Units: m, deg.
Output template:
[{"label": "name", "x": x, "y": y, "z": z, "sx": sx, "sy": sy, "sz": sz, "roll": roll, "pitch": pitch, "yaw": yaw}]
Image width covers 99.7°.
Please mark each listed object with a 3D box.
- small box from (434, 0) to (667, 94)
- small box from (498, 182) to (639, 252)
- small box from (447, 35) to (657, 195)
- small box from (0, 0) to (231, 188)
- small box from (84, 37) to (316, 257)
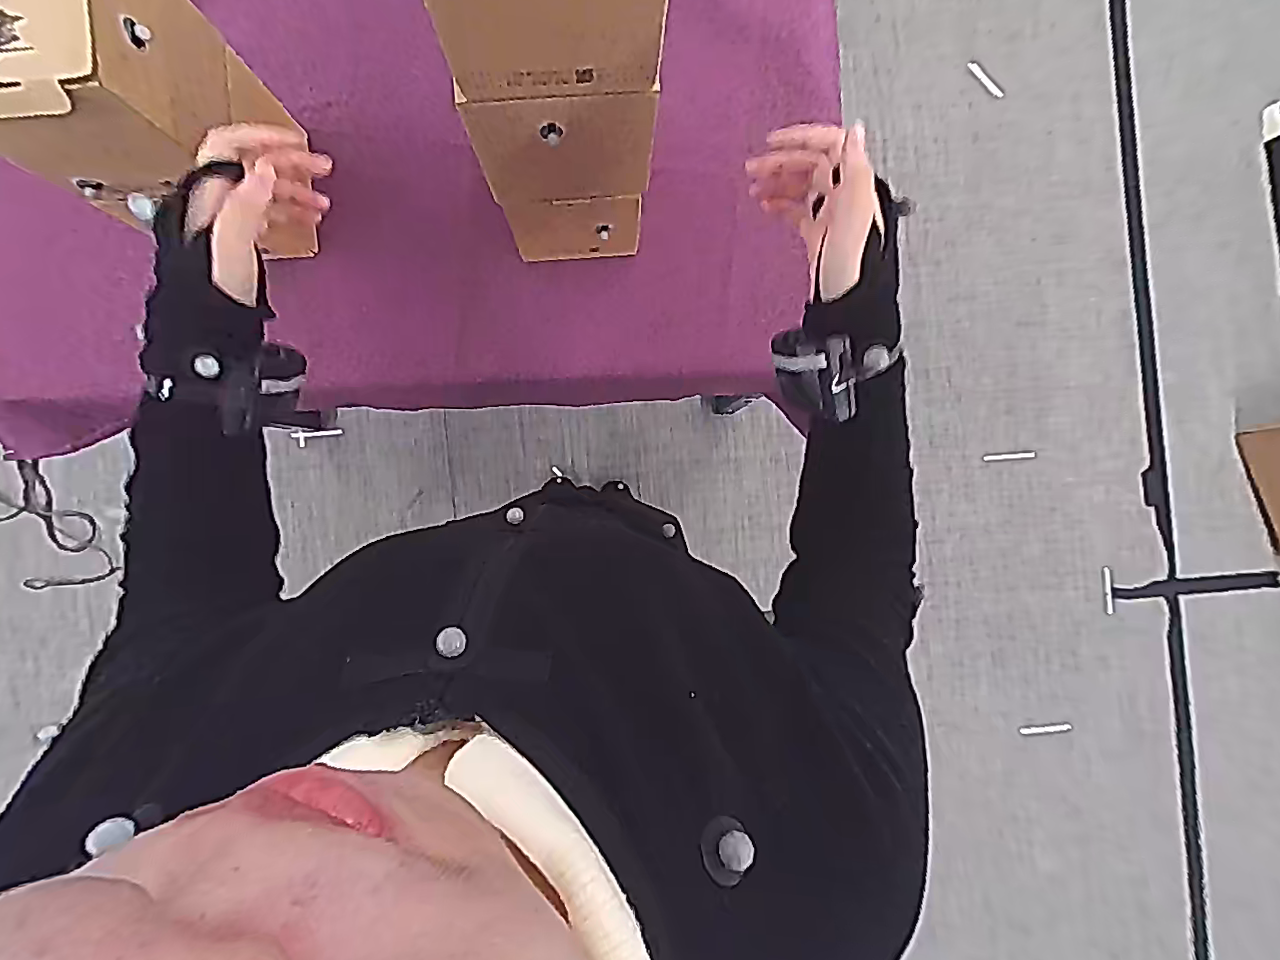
[{"label": "small box", "x": -0.068, "y": -0.410, "z": 0.370, "sx": 0.168, "sy": 0.176, "sz": 0.179, "roll": -4, "pitch": 90, "yaw": -3}, {"label": "small box", "x": -0.089, "y": -0.409, "z": 0.698, "sx": 0.168, "sy": 0.176, "sz": 0.179, "roll": -4, "pitch": 90, "yaw": -3}, {"label": "small box", "x": -0.081, "y": -0.405, "z": 0.534, "sx": 0.179, "sy": 0.176, "sz": 0.168, "roll": -5, "pitch": 92, "yaw": -3}, {"label": "small box", "x": -0.530, "y": -0.401, "z": 0.513, "sx": 0.168, "sy": 0.176, "sz": 0.179, "roll": -6, "pitch": 91, "yaw": -3}, {"label": "small box", "x": -0.537, "y": -0.402, "z": 0.677, "sx": 0.168, "sy": 0.176, "sz": 0.179, "roll": -5, "pitch": 91, "yaw": -3}]
